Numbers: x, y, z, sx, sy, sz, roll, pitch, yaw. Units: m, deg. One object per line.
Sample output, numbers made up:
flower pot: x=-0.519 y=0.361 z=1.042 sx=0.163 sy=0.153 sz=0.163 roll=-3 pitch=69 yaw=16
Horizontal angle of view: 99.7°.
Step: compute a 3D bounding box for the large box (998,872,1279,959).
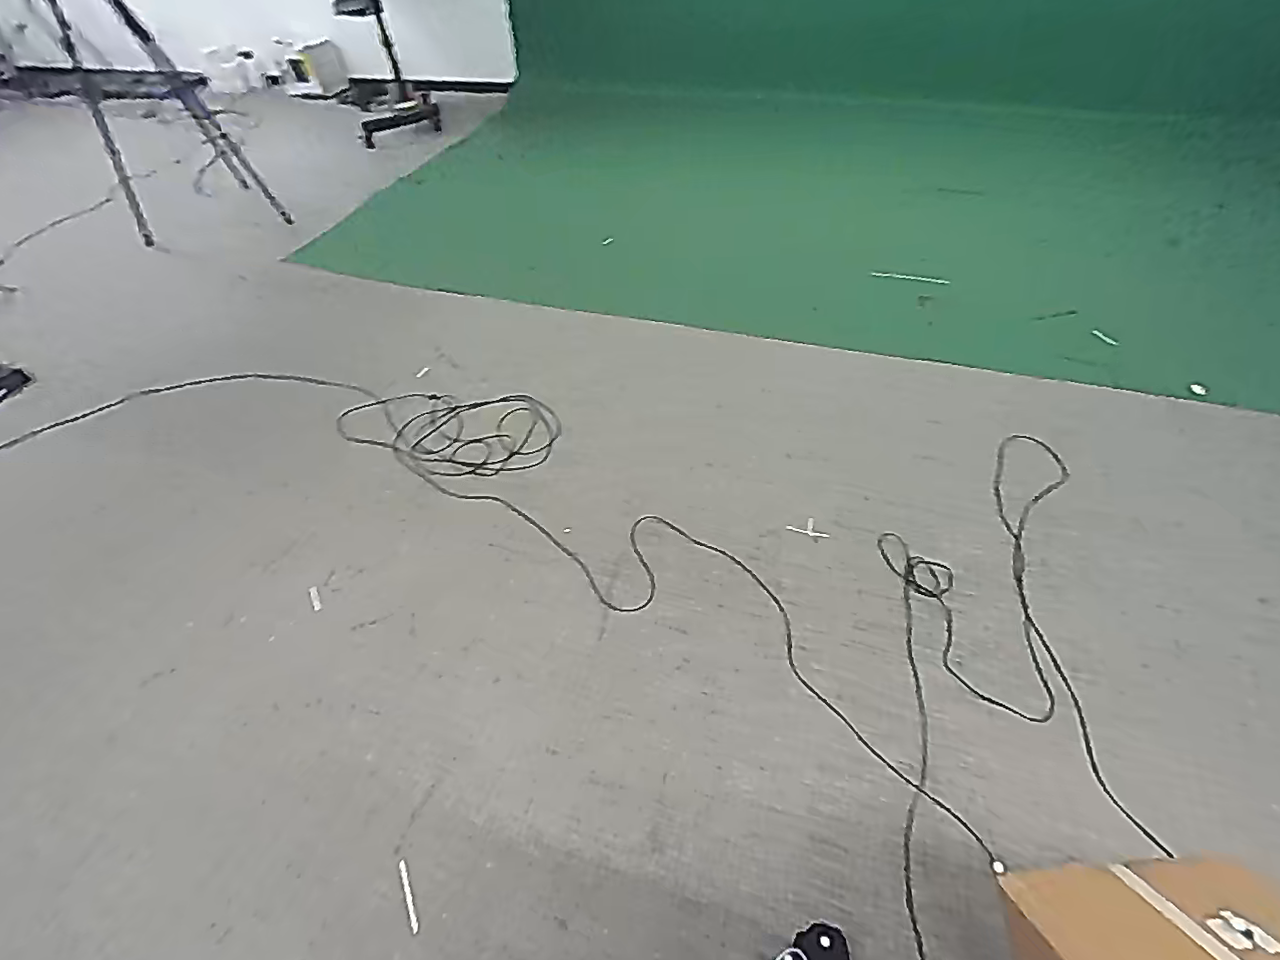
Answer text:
large box: x=0.659 y=0.690 z=0.544 sx=0.320 sy=0.408 sz=0.320 roll=-7 pitch=84 yaw=5
